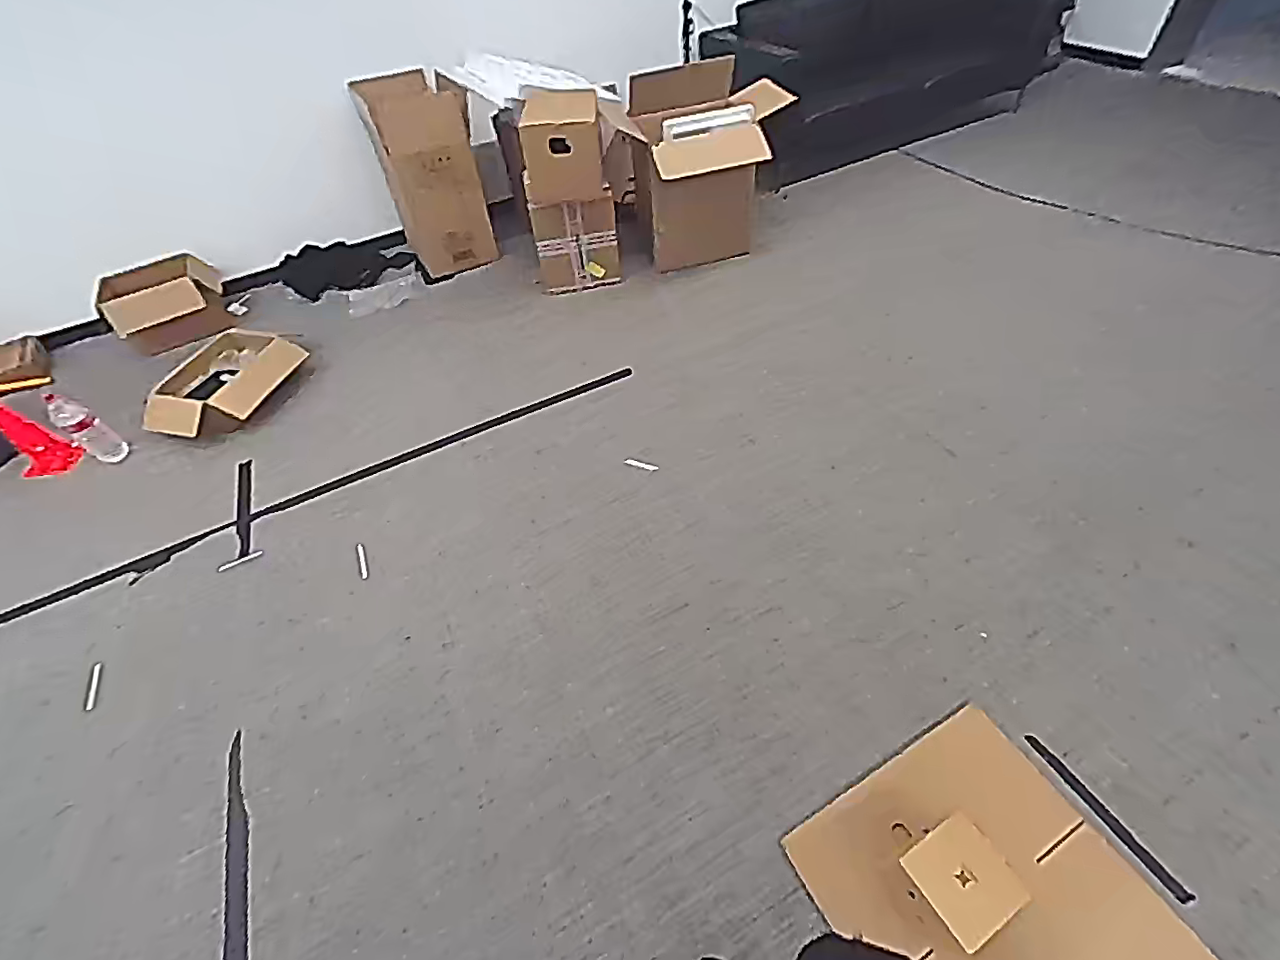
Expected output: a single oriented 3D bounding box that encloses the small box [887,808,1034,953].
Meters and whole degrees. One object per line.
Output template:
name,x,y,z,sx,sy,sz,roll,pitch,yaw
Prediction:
small box,0.623,0.799,1.080,0.179,0.176,0.168,-27,52,-15
